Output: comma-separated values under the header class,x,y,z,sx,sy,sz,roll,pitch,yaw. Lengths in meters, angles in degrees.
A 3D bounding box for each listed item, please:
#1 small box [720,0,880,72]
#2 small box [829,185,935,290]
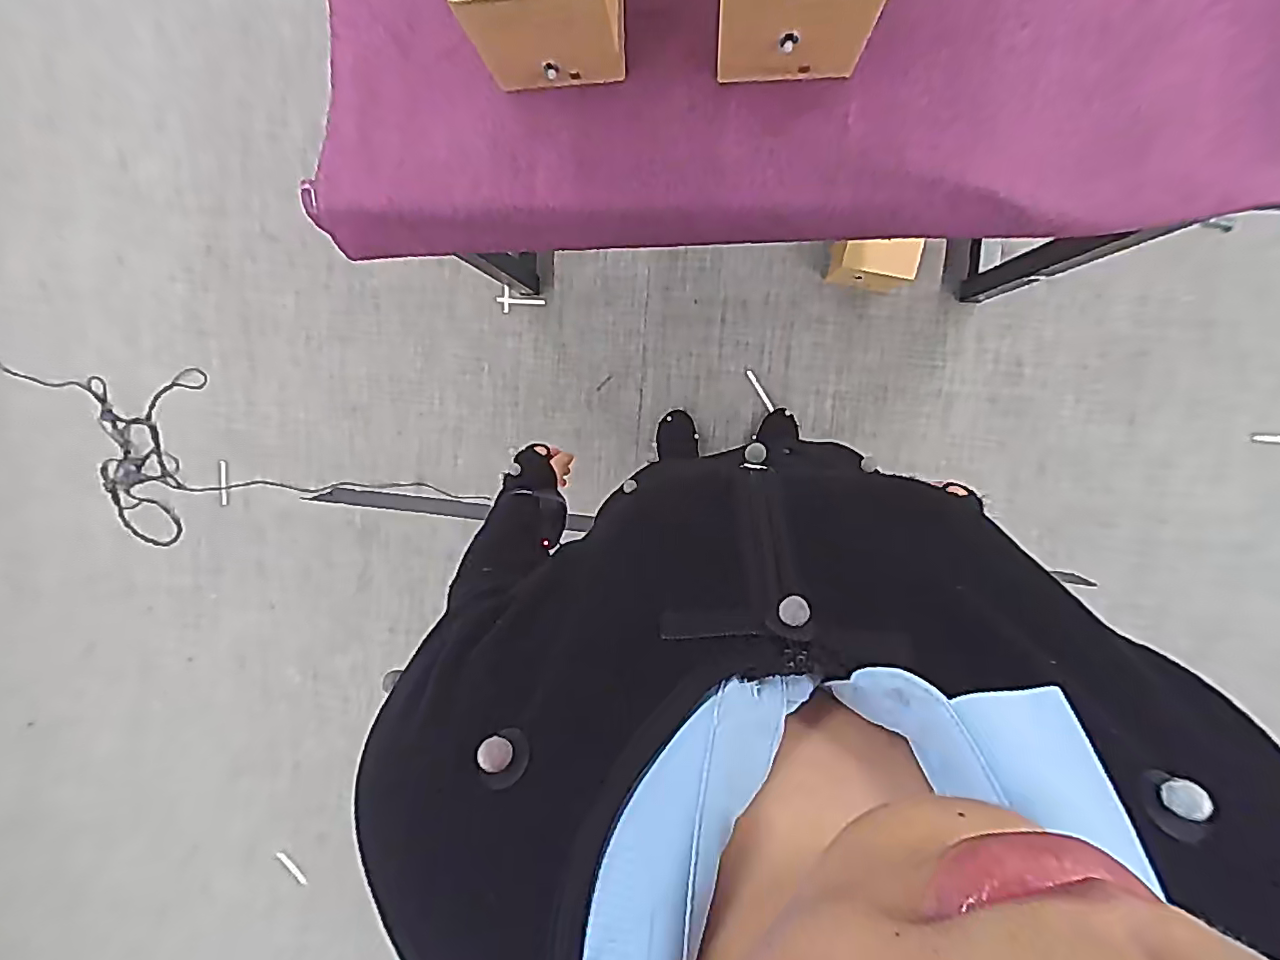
class,x,y,z,sx,sy,sz,roll,pitch,yaw
small box,0.176,-0.580,0.587,0.168,0.176,0.179,2,98,5
small box,0.564,-0.566,1.289,0.168,0.176,0.179,13,99,5
